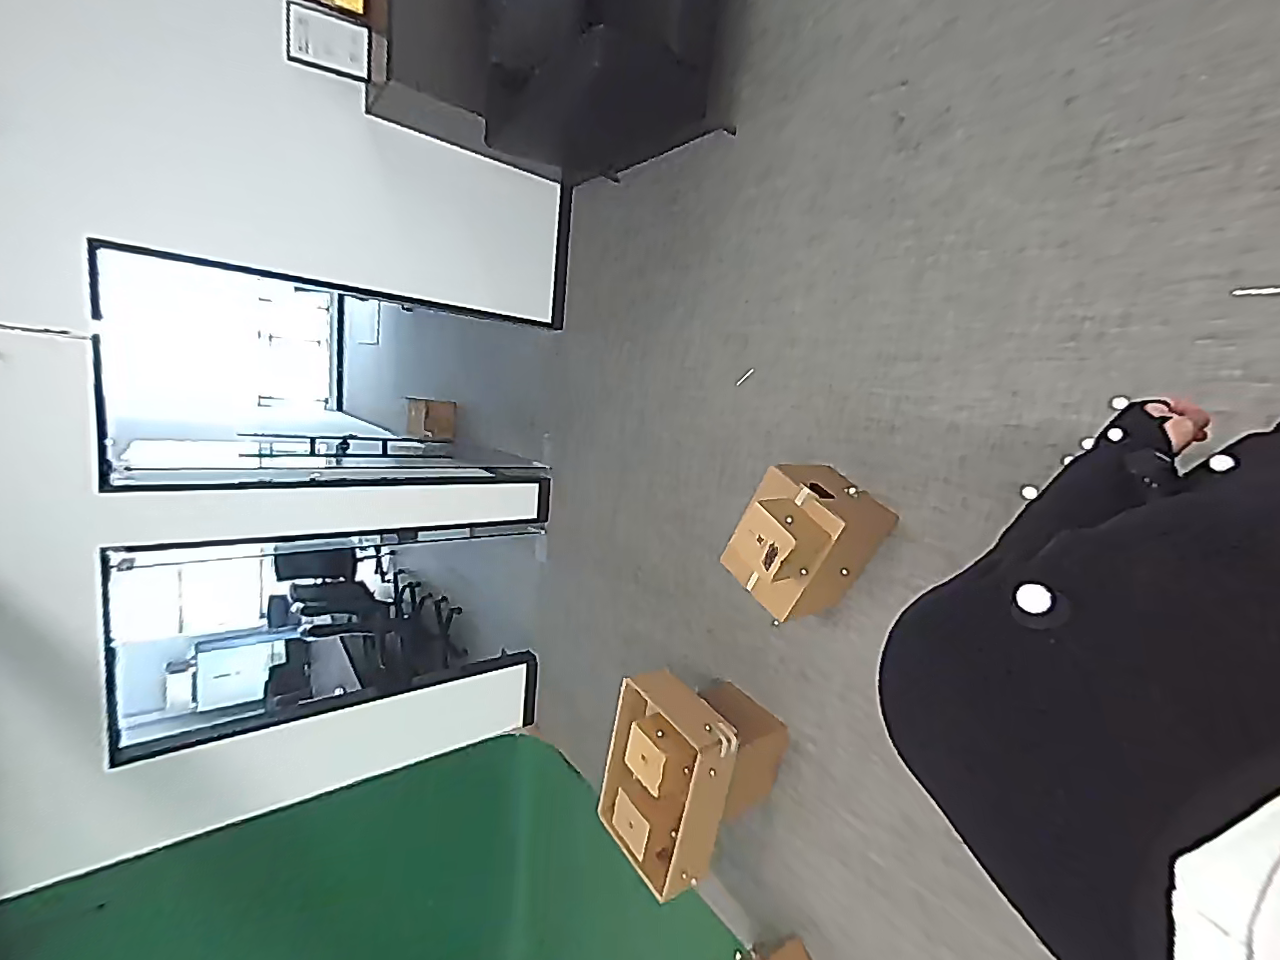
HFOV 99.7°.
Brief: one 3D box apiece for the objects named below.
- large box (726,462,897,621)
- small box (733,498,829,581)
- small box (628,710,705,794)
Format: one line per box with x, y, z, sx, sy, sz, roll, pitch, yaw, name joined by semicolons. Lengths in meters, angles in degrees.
0.556;0.185;1.783;0.320;0.320;0.408;47;126;40;large box
0.411;0.163;1.570;0.179;0.176;0.168;49;127;37;small box
0.090;0.907;1.828;0.179;0.176;0.168;27;112;46;small box
